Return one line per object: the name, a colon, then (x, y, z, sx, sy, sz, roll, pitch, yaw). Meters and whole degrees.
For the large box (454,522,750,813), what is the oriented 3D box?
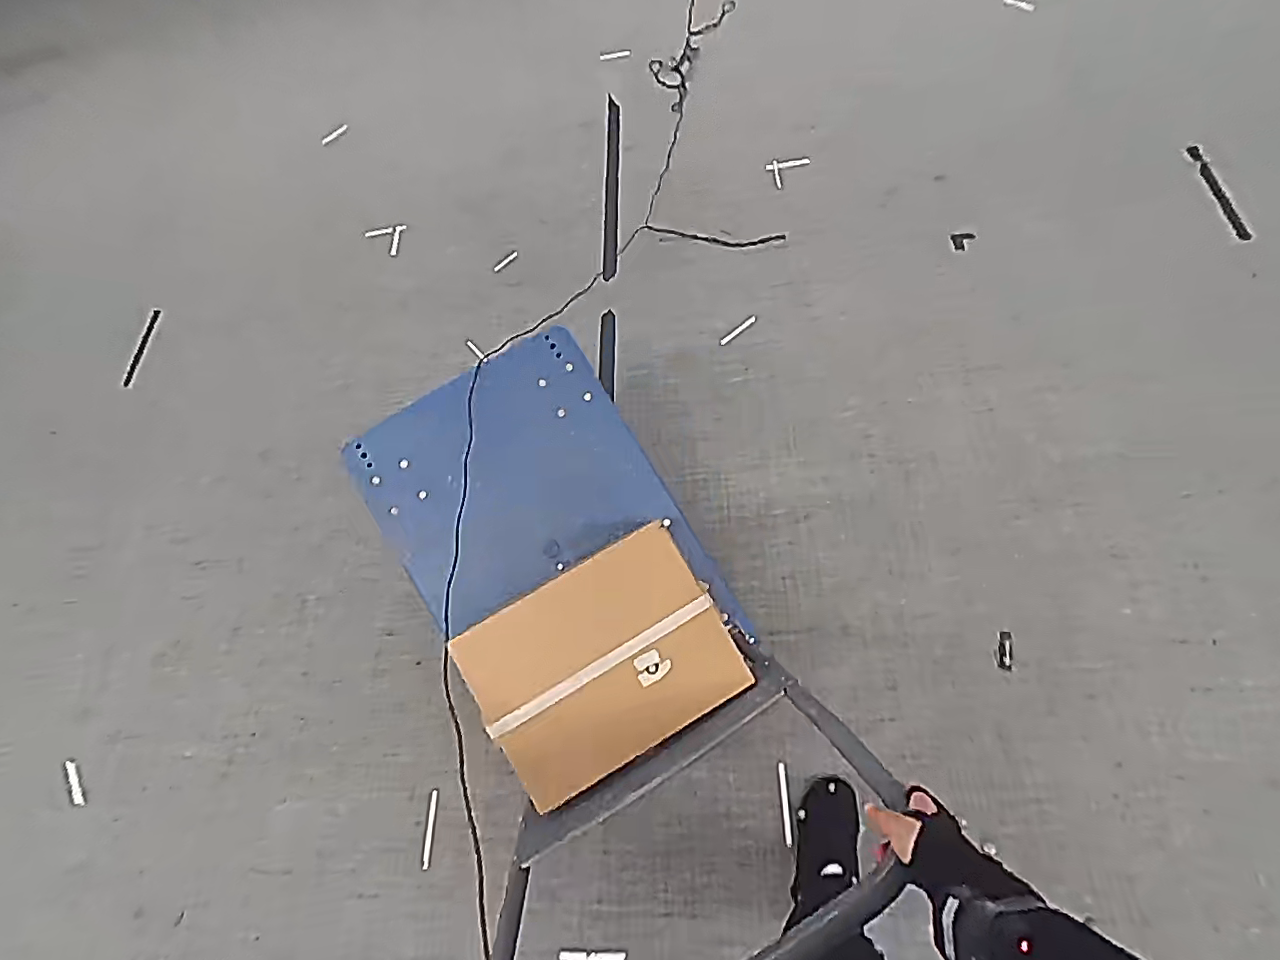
large box: (-0.070, 0.318, 1.035, 0.408, 0.320, 0.320, -31, 88, -6)
